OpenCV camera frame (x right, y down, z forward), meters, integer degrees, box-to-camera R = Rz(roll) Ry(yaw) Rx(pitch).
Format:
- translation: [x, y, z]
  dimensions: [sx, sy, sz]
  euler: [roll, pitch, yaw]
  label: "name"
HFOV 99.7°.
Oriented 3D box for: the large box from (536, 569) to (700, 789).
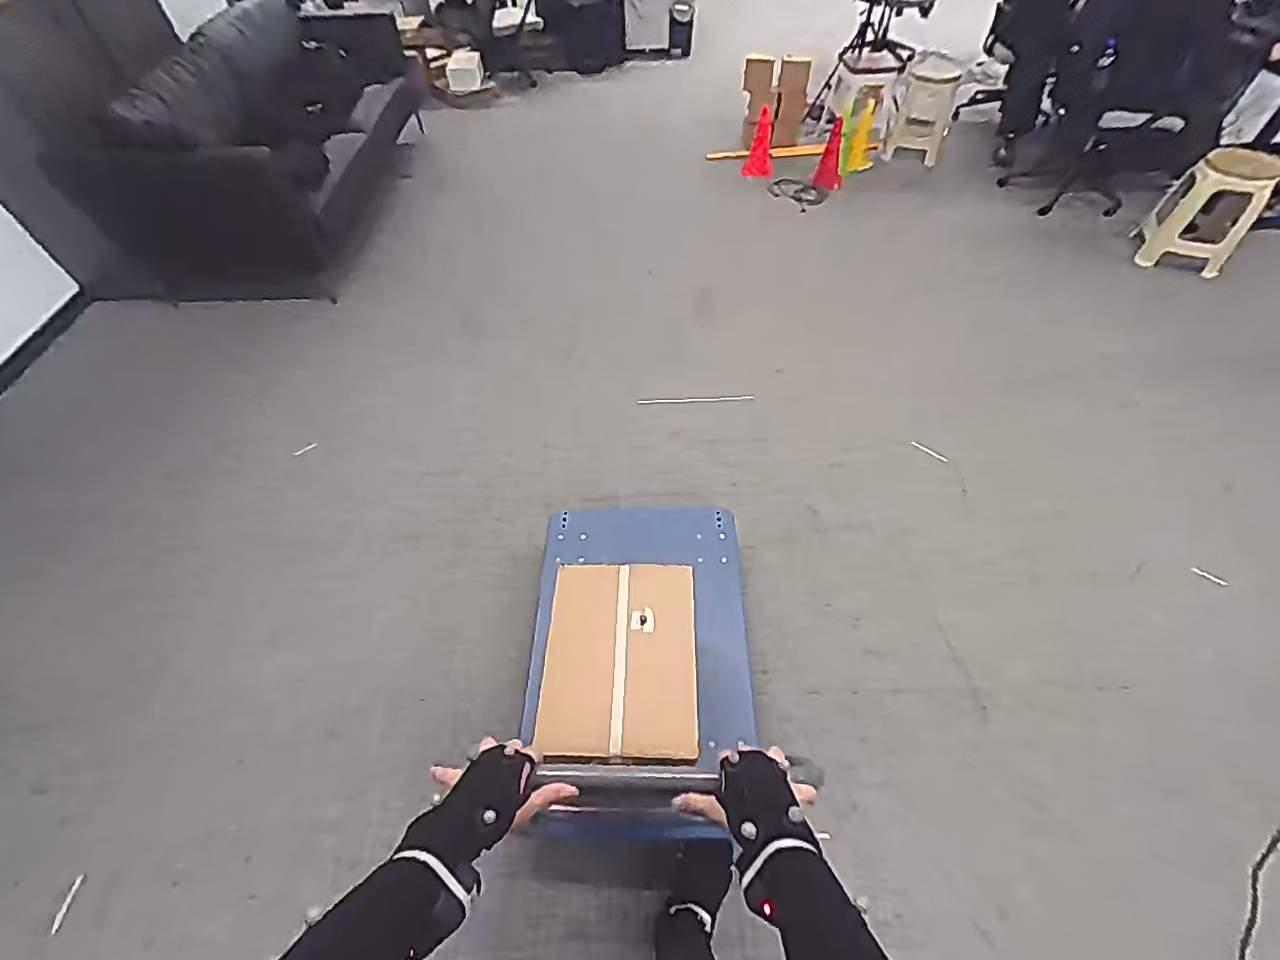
- translation: [-0.036, 0.457, 1.243]
  dimensions: [0.320, 0.320, 0.408]
  euler: [0, 50, 2]
  label: "large box"
